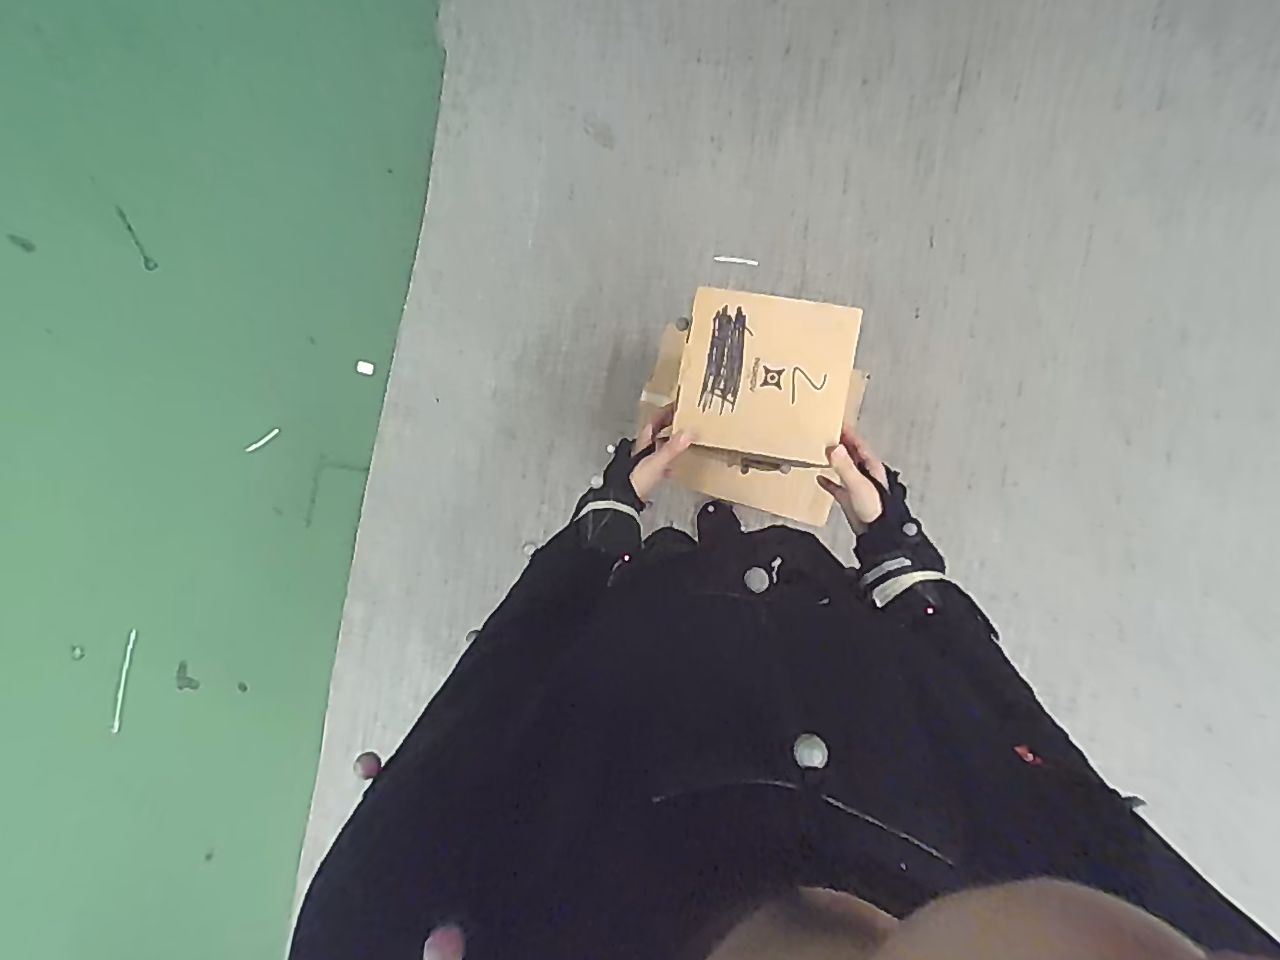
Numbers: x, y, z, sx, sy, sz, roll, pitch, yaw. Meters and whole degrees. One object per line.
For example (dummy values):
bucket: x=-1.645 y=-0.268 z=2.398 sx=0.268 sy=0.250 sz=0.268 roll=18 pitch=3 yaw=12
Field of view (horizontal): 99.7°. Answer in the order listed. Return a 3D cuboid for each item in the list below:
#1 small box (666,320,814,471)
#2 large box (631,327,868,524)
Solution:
small box: x=0.142 y=-0.114 z=0.803 sx=0.168 sy=0.176 sz=0.179 roll=13 pitch=90 yaw=6
large box: x=0.223 y=-0.108 z=1.199 sx=0.408 sy=0.320 sz=0.320 roll=15 pitch=92 yaw=7
